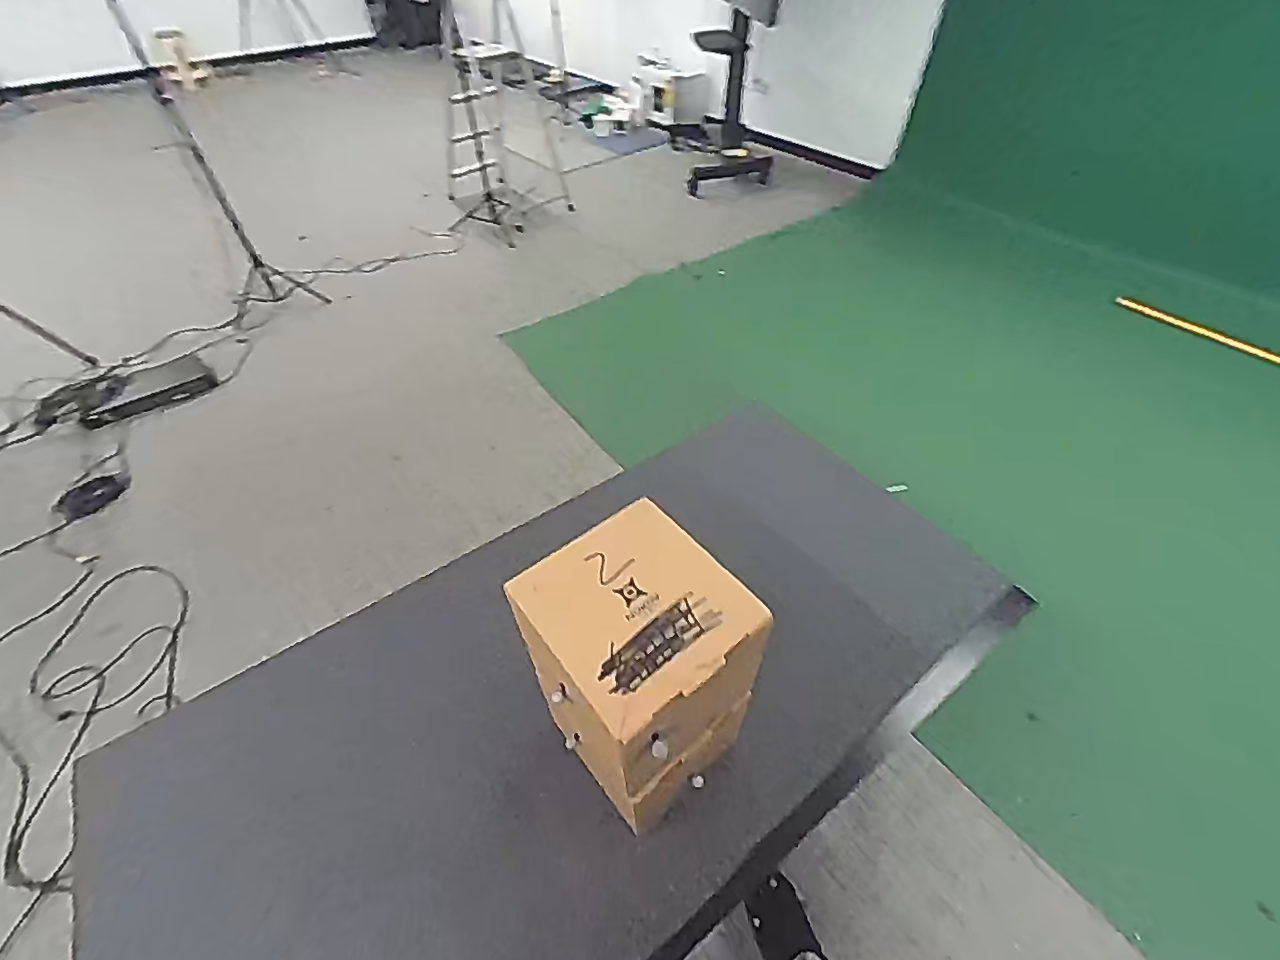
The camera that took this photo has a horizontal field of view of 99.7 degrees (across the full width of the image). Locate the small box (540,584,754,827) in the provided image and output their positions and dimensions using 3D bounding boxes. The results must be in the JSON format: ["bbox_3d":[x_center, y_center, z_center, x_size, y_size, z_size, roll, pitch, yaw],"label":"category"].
[{"bbox_3d":[0.006,0.265,0.638,0.168,0.176,0.179,-33,54,-25],"label":"small box"}]
